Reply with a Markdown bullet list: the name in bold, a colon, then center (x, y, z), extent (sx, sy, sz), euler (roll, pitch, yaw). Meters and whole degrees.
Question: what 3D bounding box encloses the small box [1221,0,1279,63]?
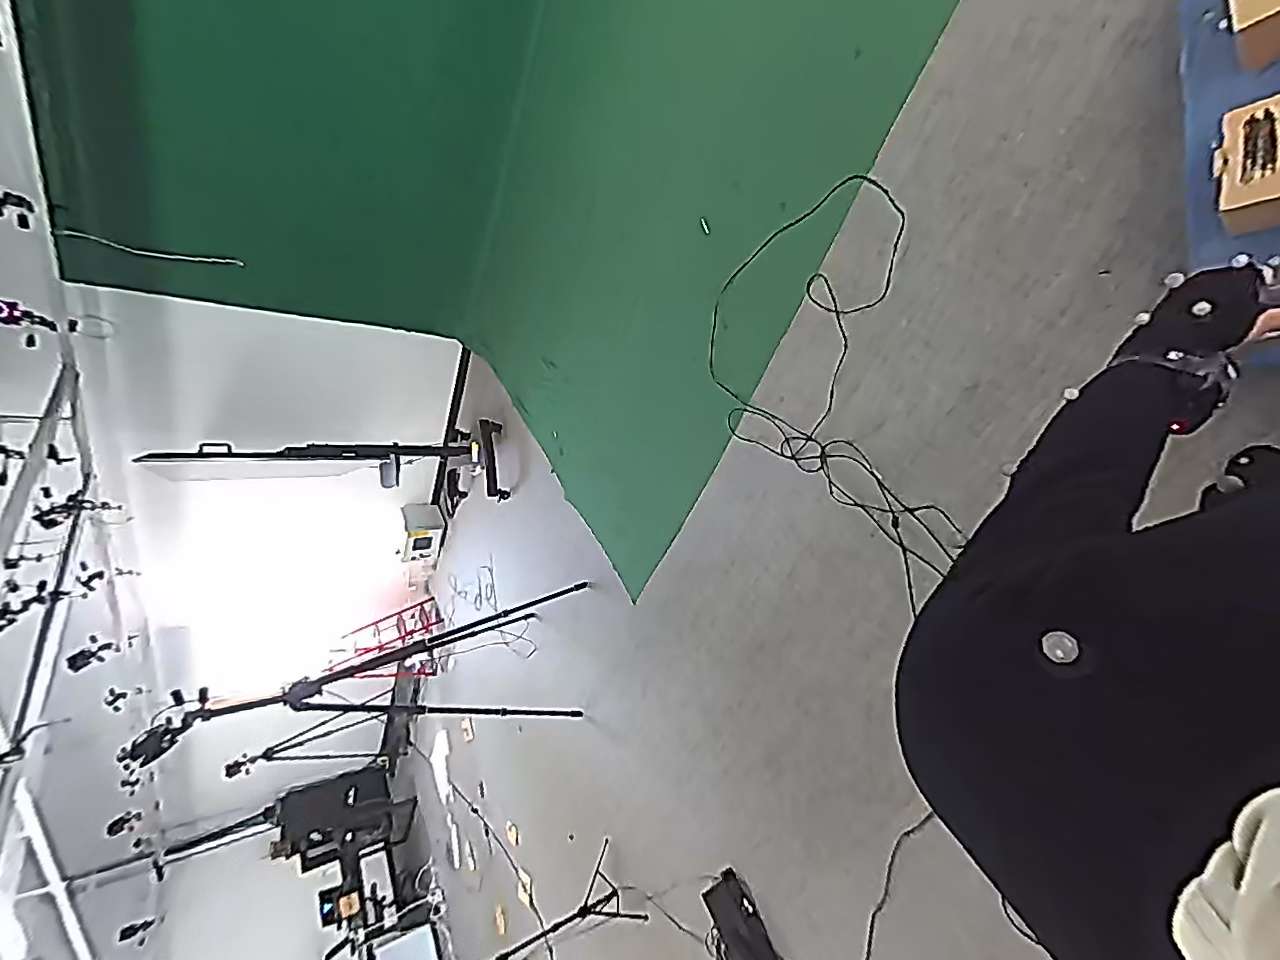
- **small box**: center (1.090, -0.840, 0.894), extent (0.168, 0.176, 0.179), euler (-9, 85, 52)
